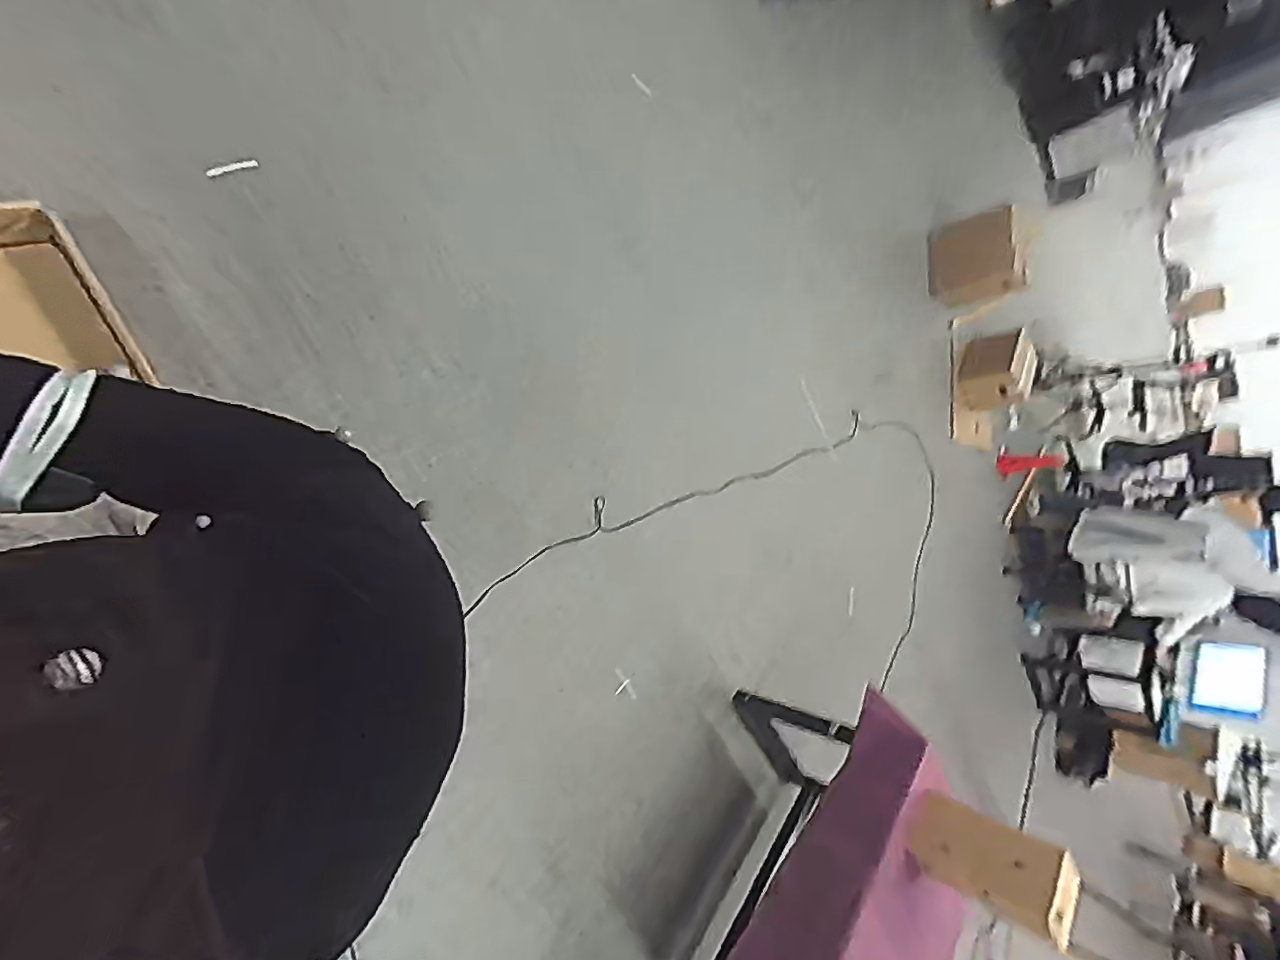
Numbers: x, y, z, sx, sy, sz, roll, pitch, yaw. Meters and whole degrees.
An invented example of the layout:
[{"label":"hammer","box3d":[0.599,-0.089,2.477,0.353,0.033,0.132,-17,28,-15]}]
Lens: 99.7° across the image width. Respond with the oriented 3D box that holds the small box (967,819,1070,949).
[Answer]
[{"label":"small box","box3d":[0.965,1.024,1.385,0.179,0.176,0.168,-46,115,-30]}]
